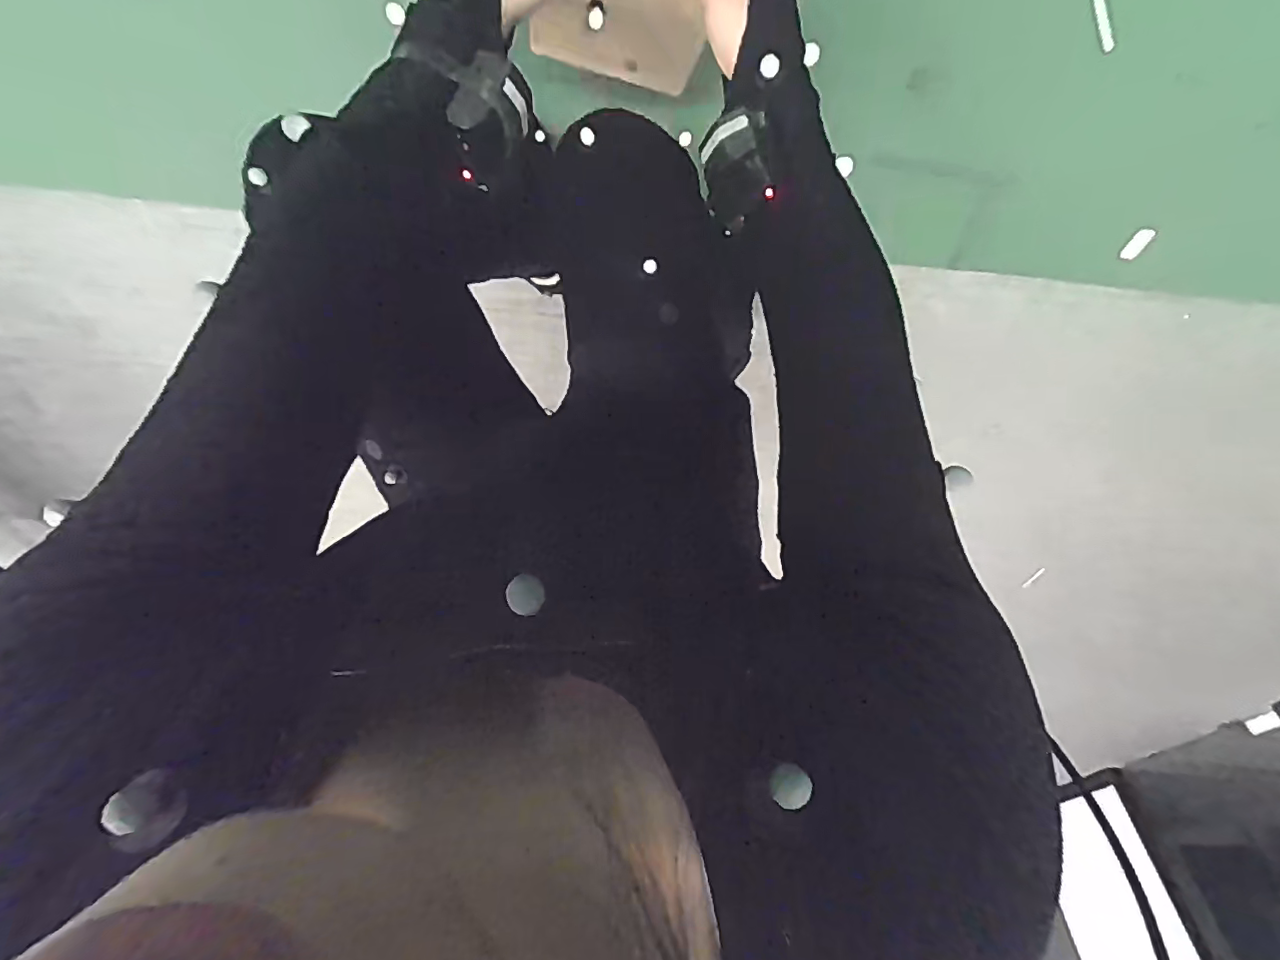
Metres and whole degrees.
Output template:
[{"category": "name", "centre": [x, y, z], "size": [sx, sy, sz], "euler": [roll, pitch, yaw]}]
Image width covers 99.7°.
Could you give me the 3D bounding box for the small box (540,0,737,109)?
[{"category": "small box", "centre": [0.001, -0.492, 0.499], "size": [0.168, 0.179, 0.176], "euler": [8, -178, -12]}]
